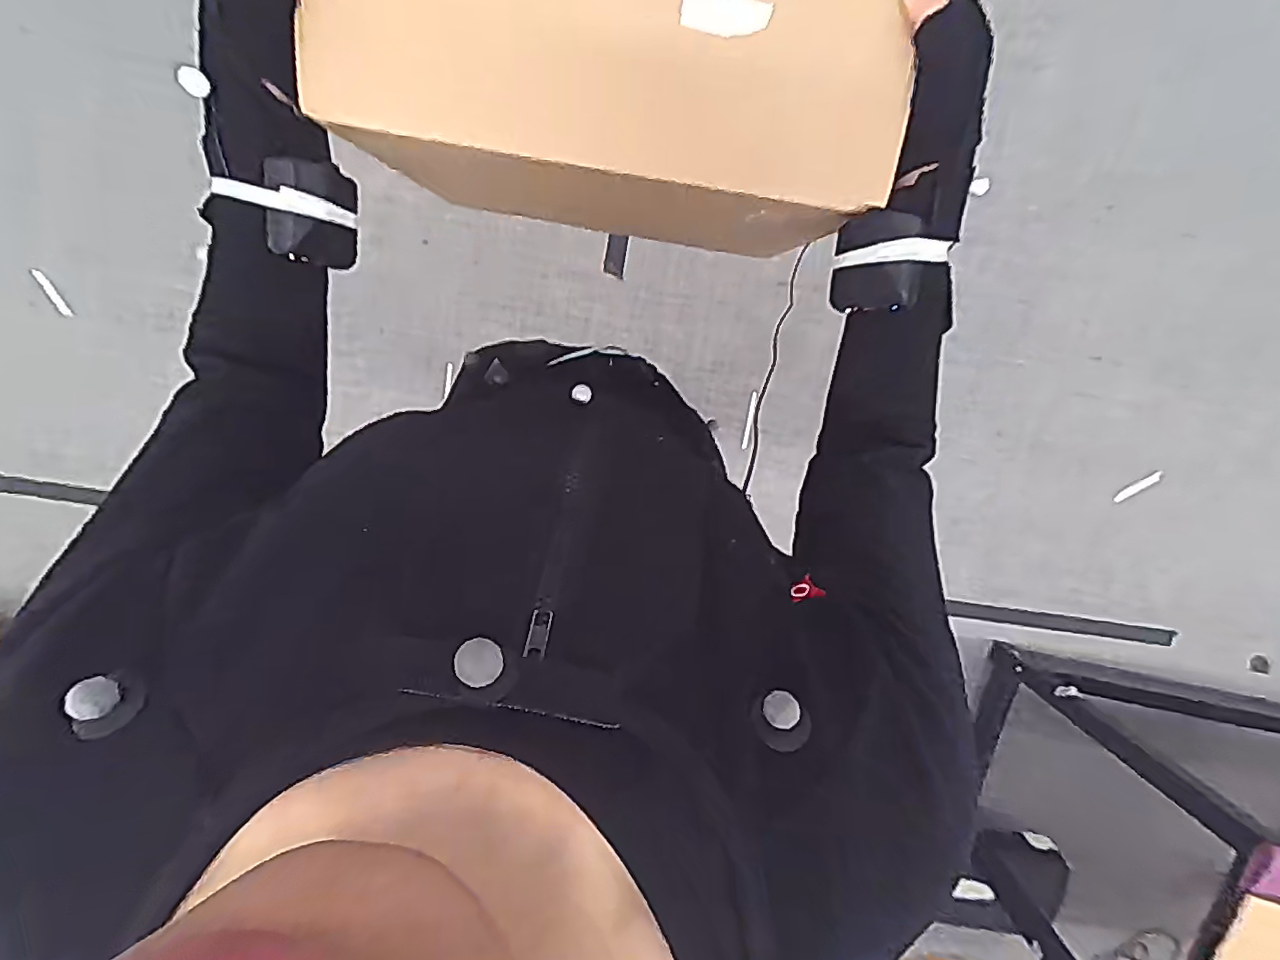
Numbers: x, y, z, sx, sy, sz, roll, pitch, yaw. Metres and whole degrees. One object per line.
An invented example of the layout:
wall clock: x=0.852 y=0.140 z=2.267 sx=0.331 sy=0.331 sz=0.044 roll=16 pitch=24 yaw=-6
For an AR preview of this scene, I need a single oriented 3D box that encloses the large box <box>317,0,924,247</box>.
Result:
large box: x=-0.008 y=-0.414 z=0.481 sx=0.408 sy=0.320 sz=0.320 roll=7 pitch=108 yaw=-4
